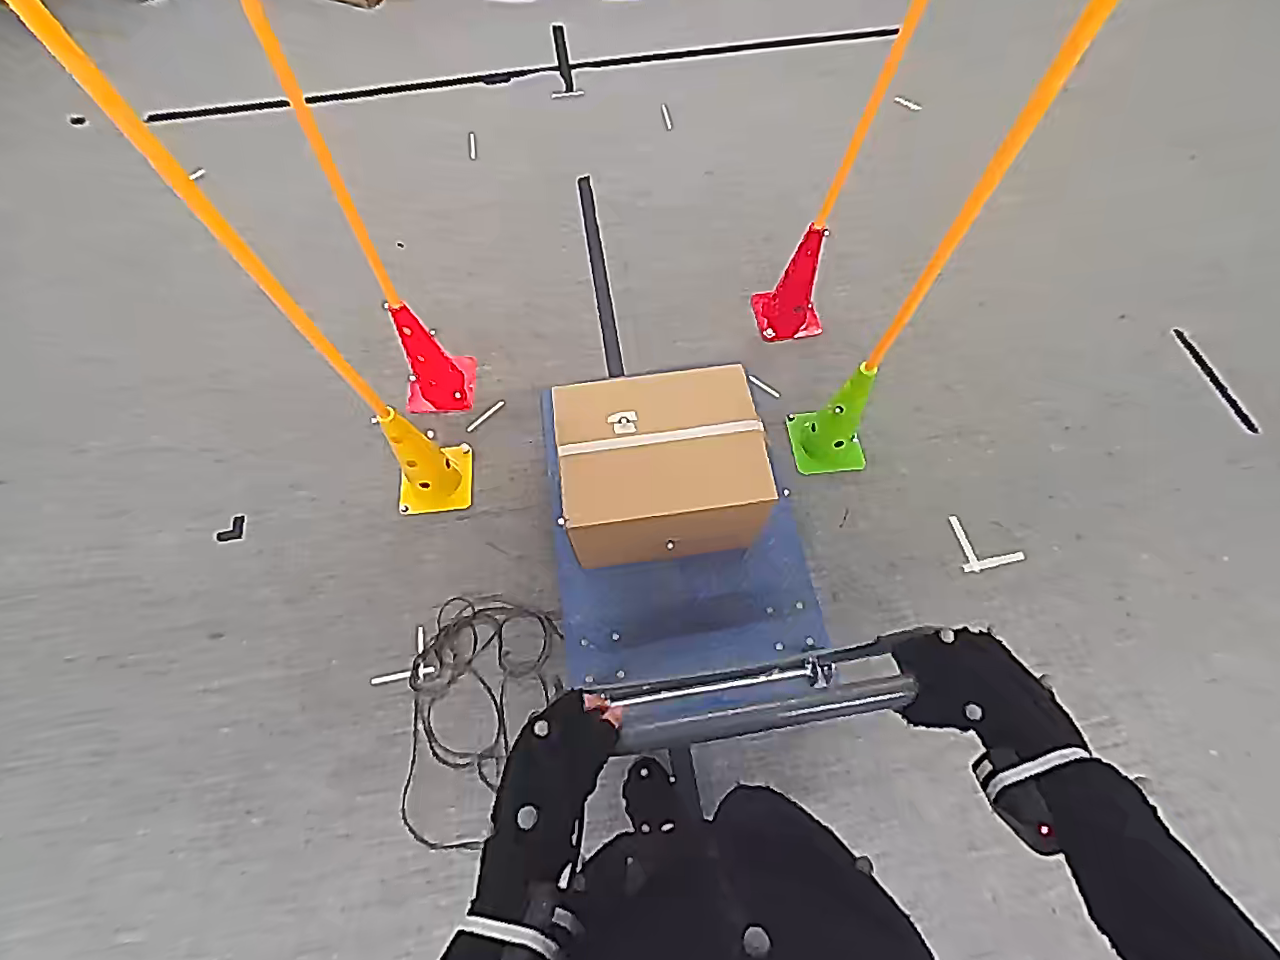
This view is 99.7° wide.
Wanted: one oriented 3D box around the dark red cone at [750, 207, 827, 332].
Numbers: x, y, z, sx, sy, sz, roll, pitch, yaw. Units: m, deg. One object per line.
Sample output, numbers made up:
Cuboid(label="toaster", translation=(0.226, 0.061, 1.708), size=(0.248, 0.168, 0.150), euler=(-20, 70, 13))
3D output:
Cuboid(label="dark red cone", translation=(0.480, -0.638, 1.628), size=(0.201, 0.394, 0.202), euler=(-8, 66, -6))

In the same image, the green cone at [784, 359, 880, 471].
Cuboid(label="green cone", translation=(0.542, -0.193, 1.444), size=(0.202, 0.368, 0.200), euler=(-5, 65, -3))

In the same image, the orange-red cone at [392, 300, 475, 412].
Cuboid(label="orange-red cone", translation=(-0.619, -0.372, 1.536), size=(0.198, 0.360, 0.199), euler=(-2, 64, -2))

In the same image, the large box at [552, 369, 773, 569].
Cuboid(label="large box", translation=(0.039, -0.009, 1.206), size=(0.408, 0.320, 0.320), euler=(-8, 66, -2))
